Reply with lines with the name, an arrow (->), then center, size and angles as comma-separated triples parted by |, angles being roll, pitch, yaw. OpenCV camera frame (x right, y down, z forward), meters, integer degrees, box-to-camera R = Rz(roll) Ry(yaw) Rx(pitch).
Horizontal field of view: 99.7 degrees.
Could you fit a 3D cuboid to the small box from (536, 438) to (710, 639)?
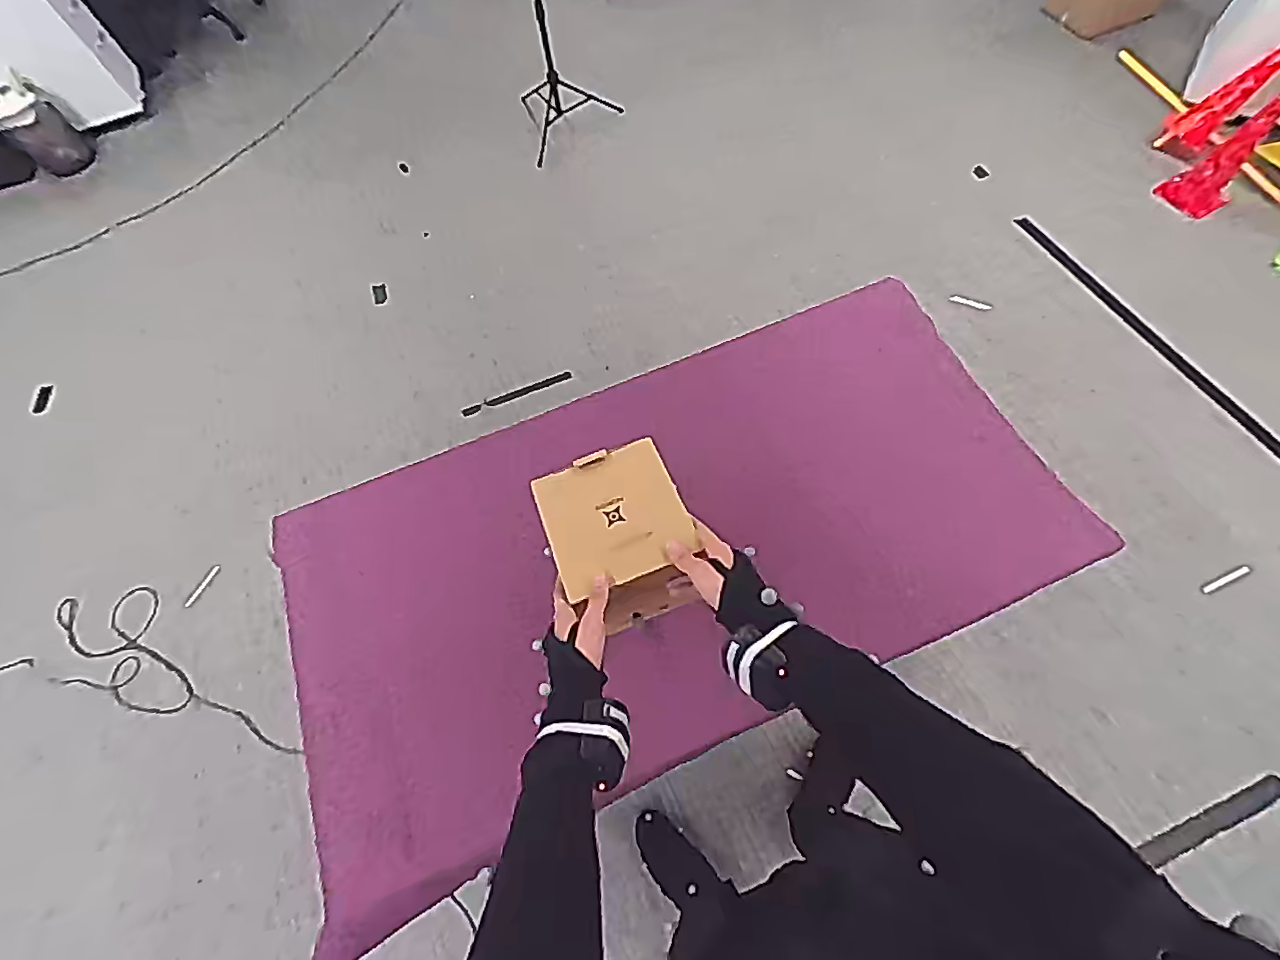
small box -> -0.019, 0.080, 0.704 | 0.168, 0.176, 0.179 | -21, 59, -5
